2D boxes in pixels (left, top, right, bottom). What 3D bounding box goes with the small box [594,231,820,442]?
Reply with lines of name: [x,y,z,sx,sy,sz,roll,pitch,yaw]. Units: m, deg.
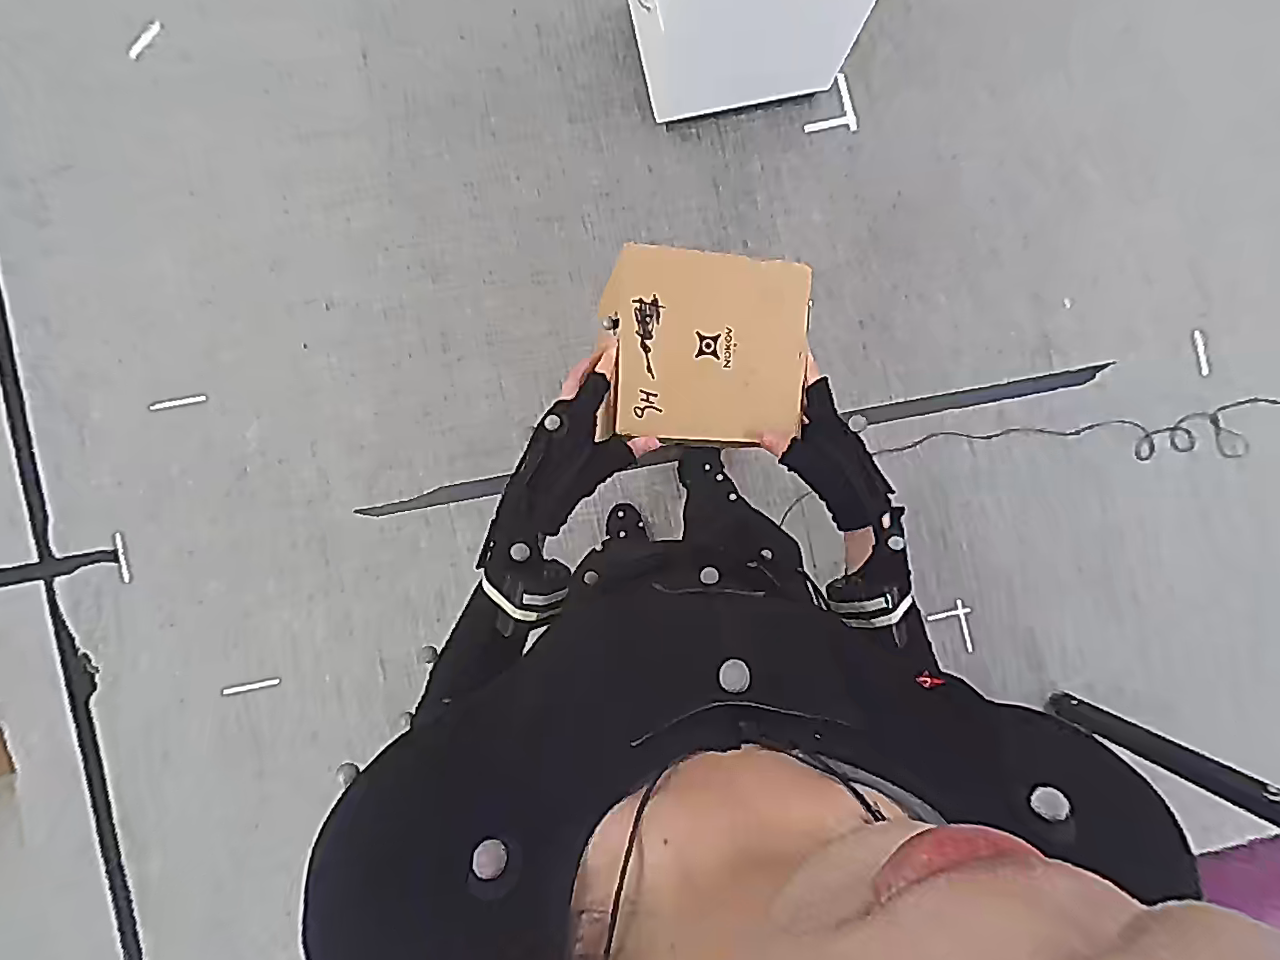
small box: [0.056,-0.126,0.551,0.179,0.176,0.168,3,92,-13]
